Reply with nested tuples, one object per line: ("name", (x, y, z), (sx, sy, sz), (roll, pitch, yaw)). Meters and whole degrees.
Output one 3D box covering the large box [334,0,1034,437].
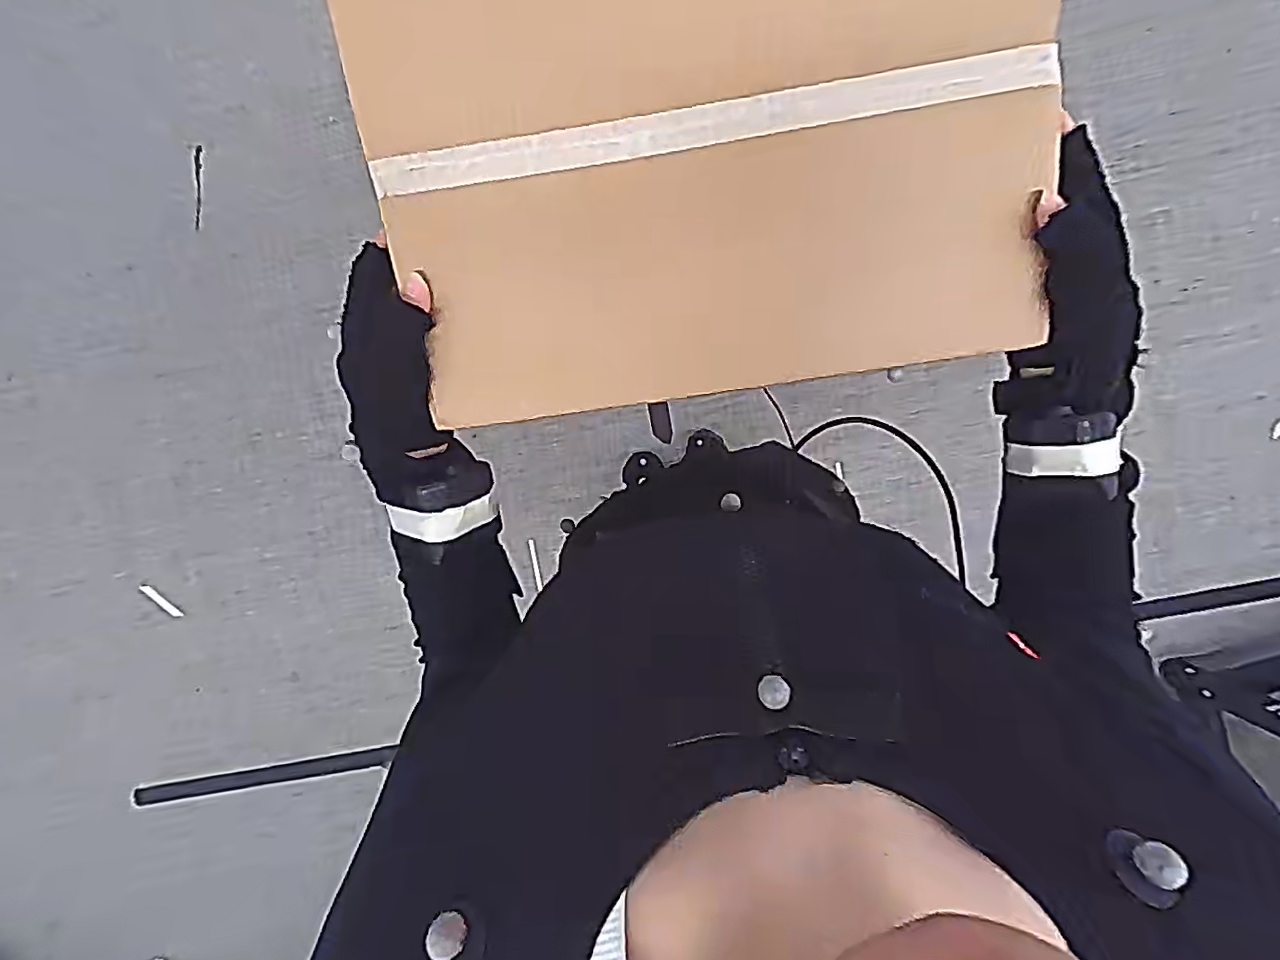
("large box", (0.038, -0.245, 0.474), (0.408, 0.320, 0.320), (-8, 104, 3))
